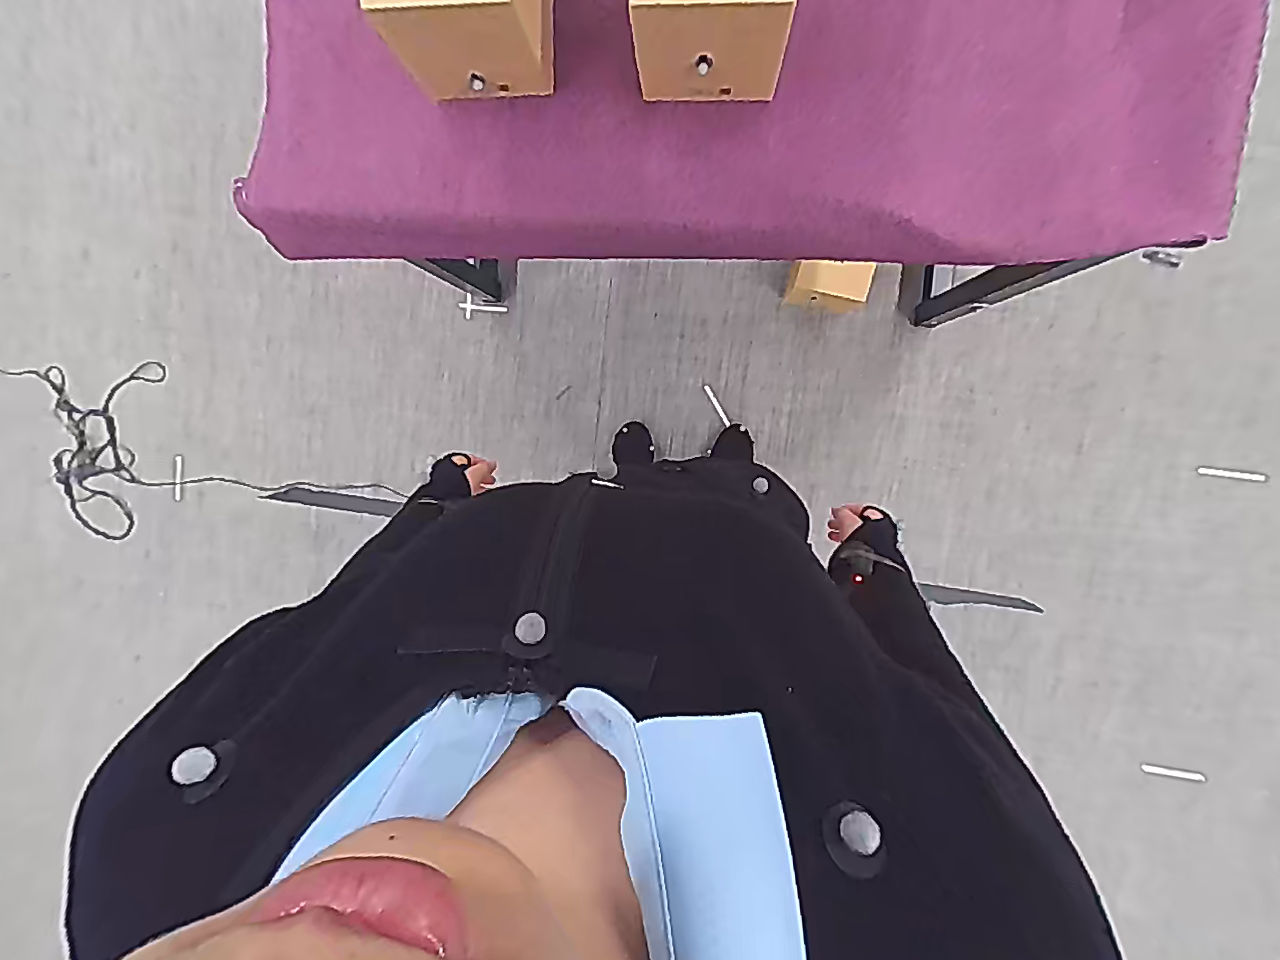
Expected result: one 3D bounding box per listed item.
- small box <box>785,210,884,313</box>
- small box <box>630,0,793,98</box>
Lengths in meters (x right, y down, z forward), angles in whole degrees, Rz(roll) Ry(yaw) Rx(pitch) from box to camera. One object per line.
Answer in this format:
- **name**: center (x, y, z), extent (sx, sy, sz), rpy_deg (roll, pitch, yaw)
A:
- **small box**: center (0.460, -0.518, 1.308), extent (0.168, 0.176, 0.179), rpy_deg (15, 97, 4)
- **small box**: center (0.084, -0.561, 0.601), extent (0.168, 0.176, 0.179), rpy_deg (4, 97, 4)
